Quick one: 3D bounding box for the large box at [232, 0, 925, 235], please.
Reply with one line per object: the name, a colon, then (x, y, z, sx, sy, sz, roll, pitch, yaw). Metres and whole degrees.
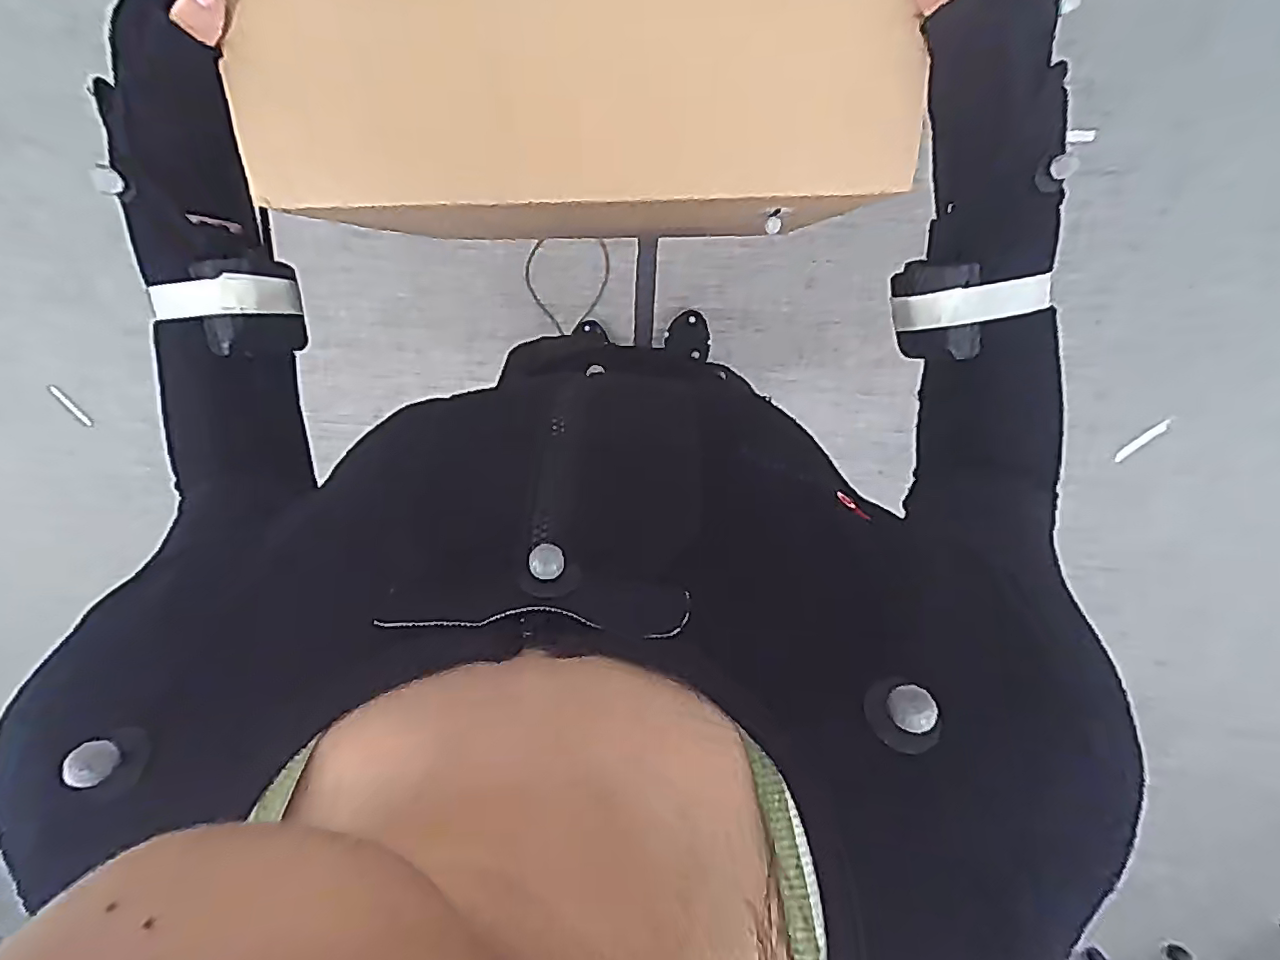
large box: (-0.032, -0.376, 0.430, 0.408, 0.320, 0.320, -1, 110, 2)
